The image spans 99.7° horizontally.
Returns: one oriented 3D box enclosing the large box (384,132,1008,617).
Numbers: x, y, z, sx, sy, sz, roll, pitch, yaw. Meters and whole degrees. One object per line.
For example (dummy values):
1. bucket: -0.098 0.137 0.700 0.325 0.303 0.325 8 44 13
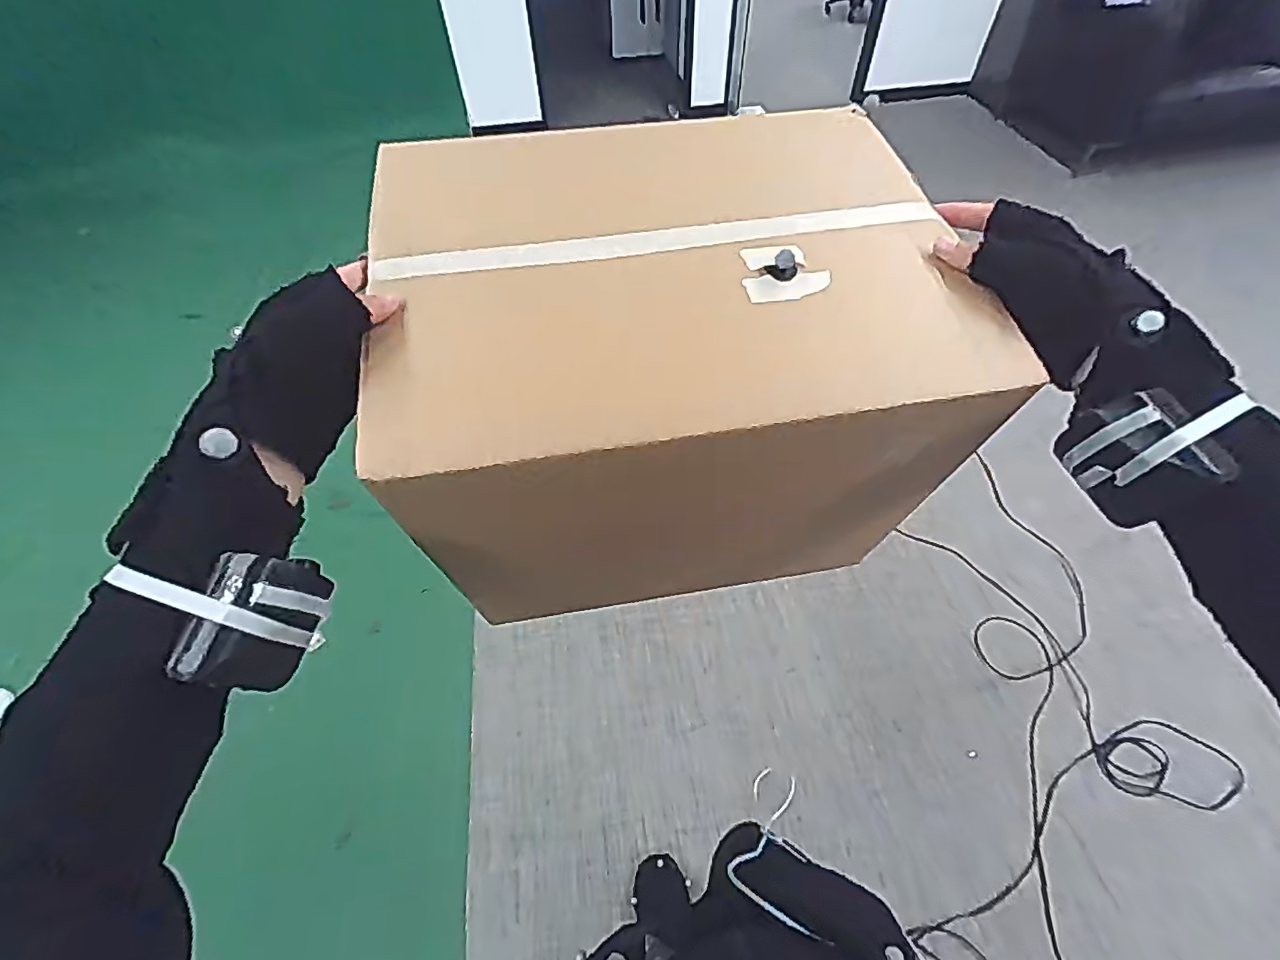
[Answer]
1. large box: 0.015 -0.087 0.529 0.408 0.320 0.320 -8 61 -6
